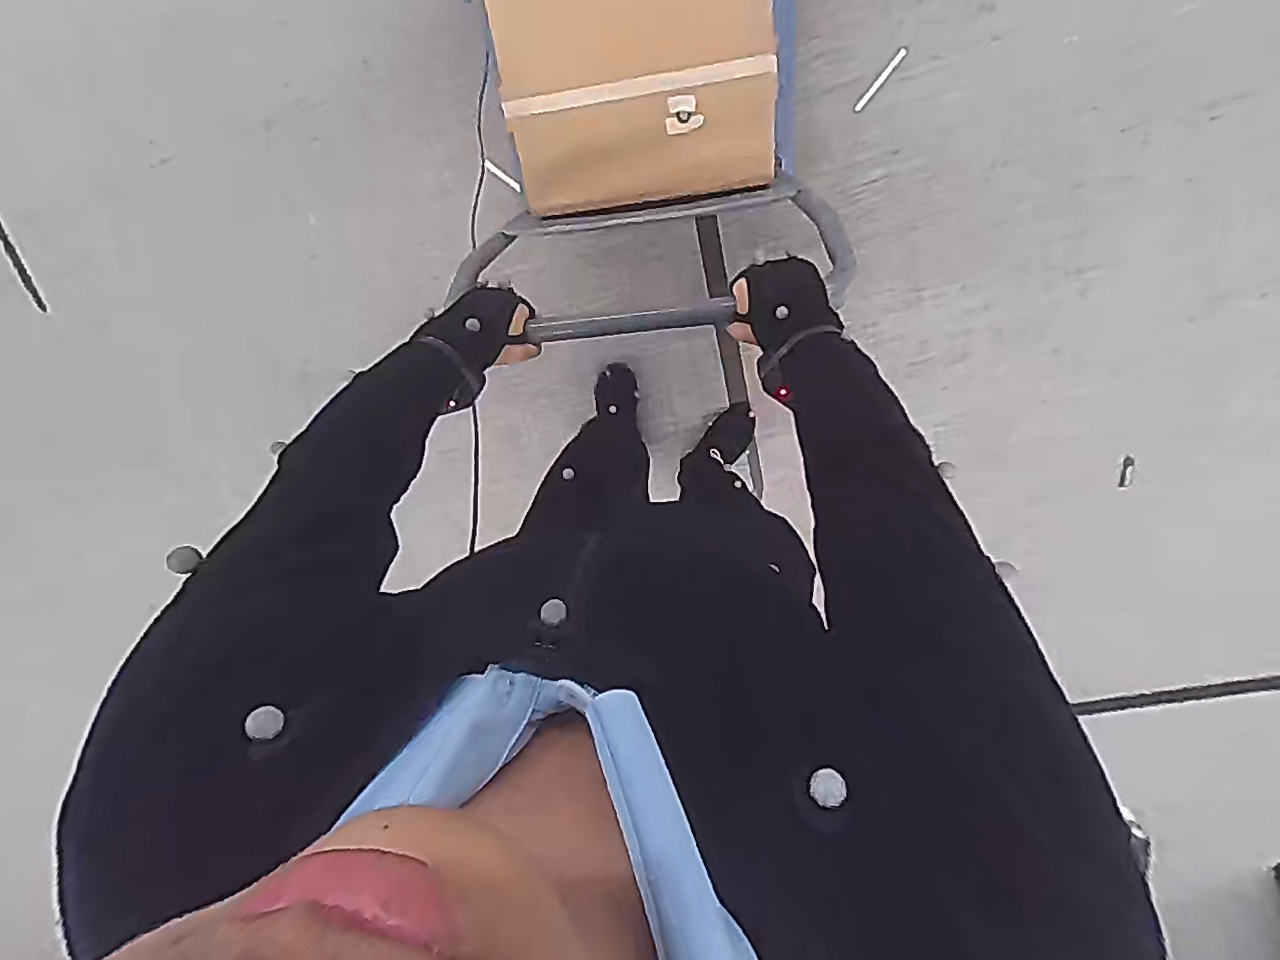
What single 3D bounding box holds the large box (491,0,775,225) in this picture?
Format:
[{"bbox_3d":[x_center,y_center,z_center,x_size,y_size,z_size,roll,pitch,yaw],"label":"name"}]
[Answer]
[{"bbox_3d":[0.008,-0.666,0.954,0.408,0.320,0.320,-5,122,7],"label":"large box"}]
